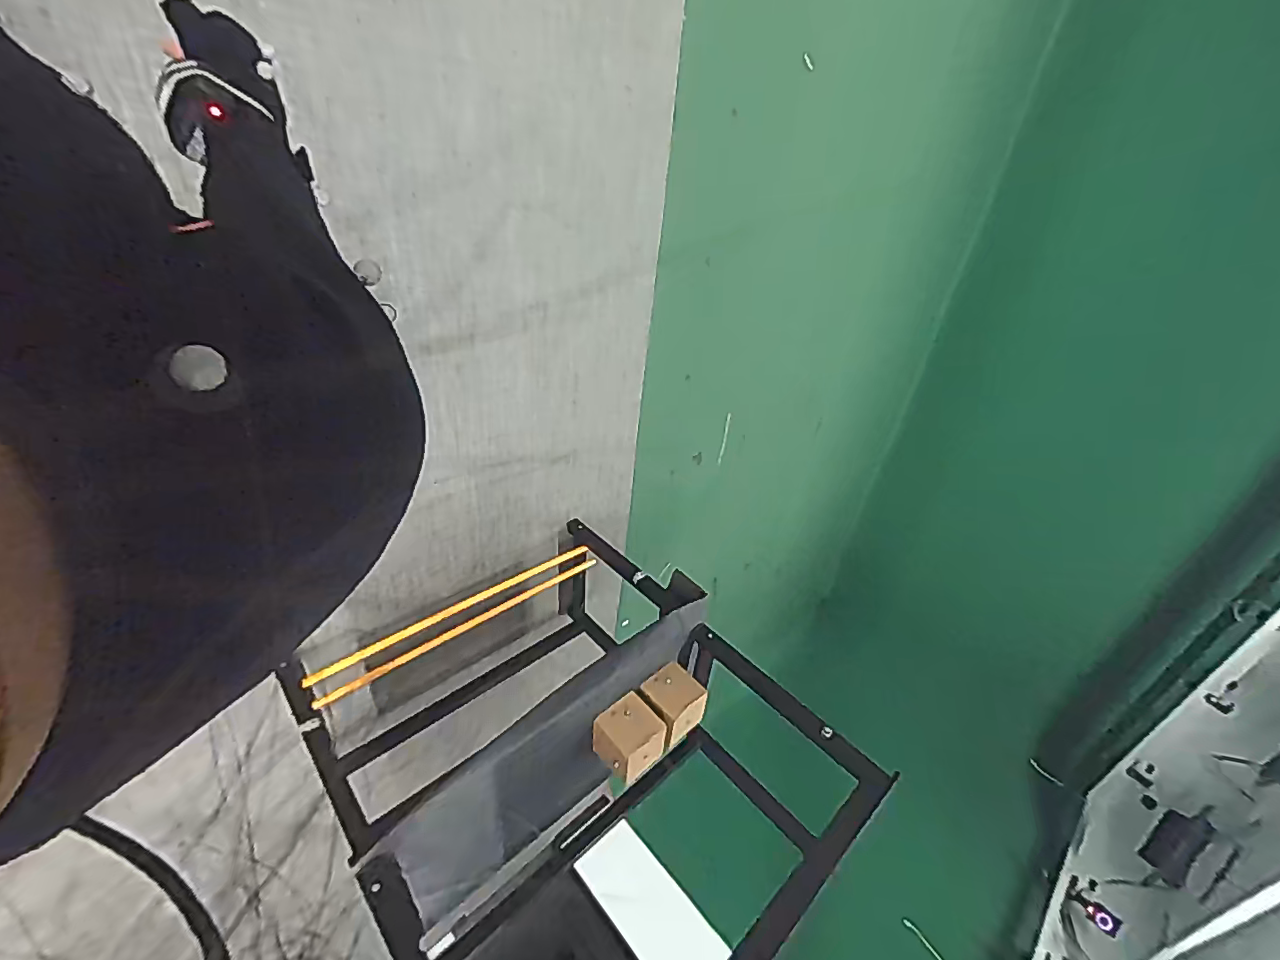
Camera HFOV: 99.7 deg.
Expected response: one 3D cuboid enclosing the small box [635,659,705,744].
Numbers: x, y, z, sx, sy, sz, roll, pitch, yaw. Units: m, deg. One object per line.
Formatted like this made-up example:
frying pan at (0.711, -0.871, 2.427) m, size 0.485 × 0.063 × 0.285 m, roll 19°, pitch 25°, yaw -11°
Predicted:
small box at (0.096, 0.758, 1.863) m, size 0.168 × 0.176 × 0.179 m, roll -25°, pitch 135°, yaw -36°
